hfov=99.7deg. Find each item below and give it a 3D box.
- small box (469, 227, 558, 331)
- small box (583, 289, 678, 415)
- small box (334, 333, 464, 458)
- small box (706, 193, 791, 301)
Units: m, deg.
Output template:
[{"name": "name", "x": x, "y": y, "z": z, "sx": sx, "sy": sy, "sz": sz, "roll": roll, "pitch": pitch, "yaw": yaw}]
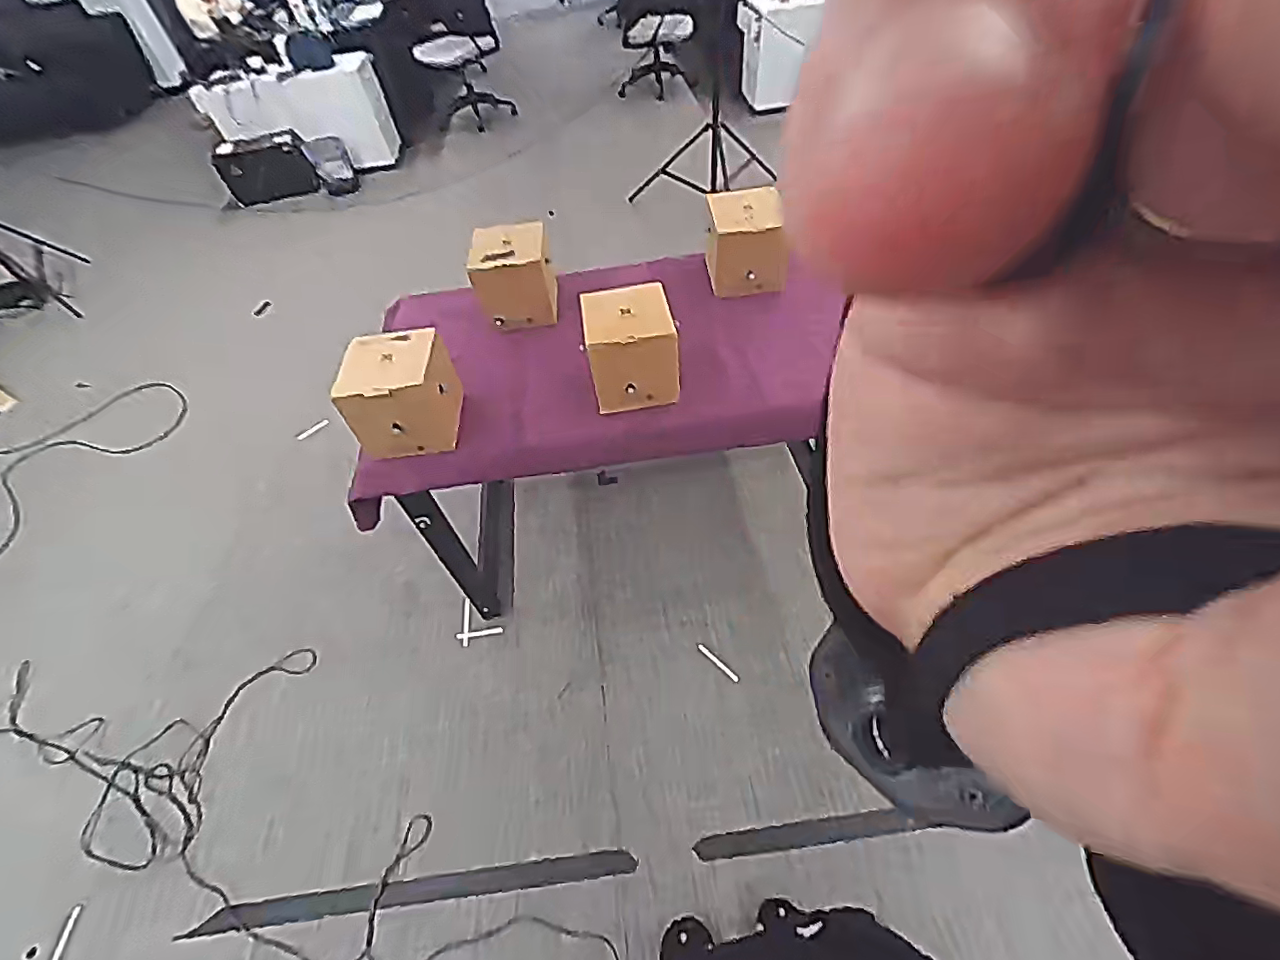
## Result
[{"name": "small box", "x": -0.293, "y": -0.471, "z": 1.290, "sx": 0.168, "sy": 0.176, "sz": 0.179, "roll": -7, "pitch": 51, "yaw": 1}, {"name": "small box", "x": -0.018, "y": -0.255, "z": 1.089, "sx": 0.168, "sy": 0.176, "sz": 0.179, "roll": -9, "pitch": 50, "yaw": -1}, {"name": "small box", "x": -0.454, "y": -0.157, "z": 1.054, "sx": 0.168, "sy": 0.176, "sz": 0.179, "roll": -7, "pitch": 51, "yaw": 0}, {"name": "small box", "x": 0.251, "y": -0.556, "z": 1.295, "sx": 0.168, "sy": 0.176, "sz": 0.179, "roll": -7, "pitch": 53, "yaw": 2}]
